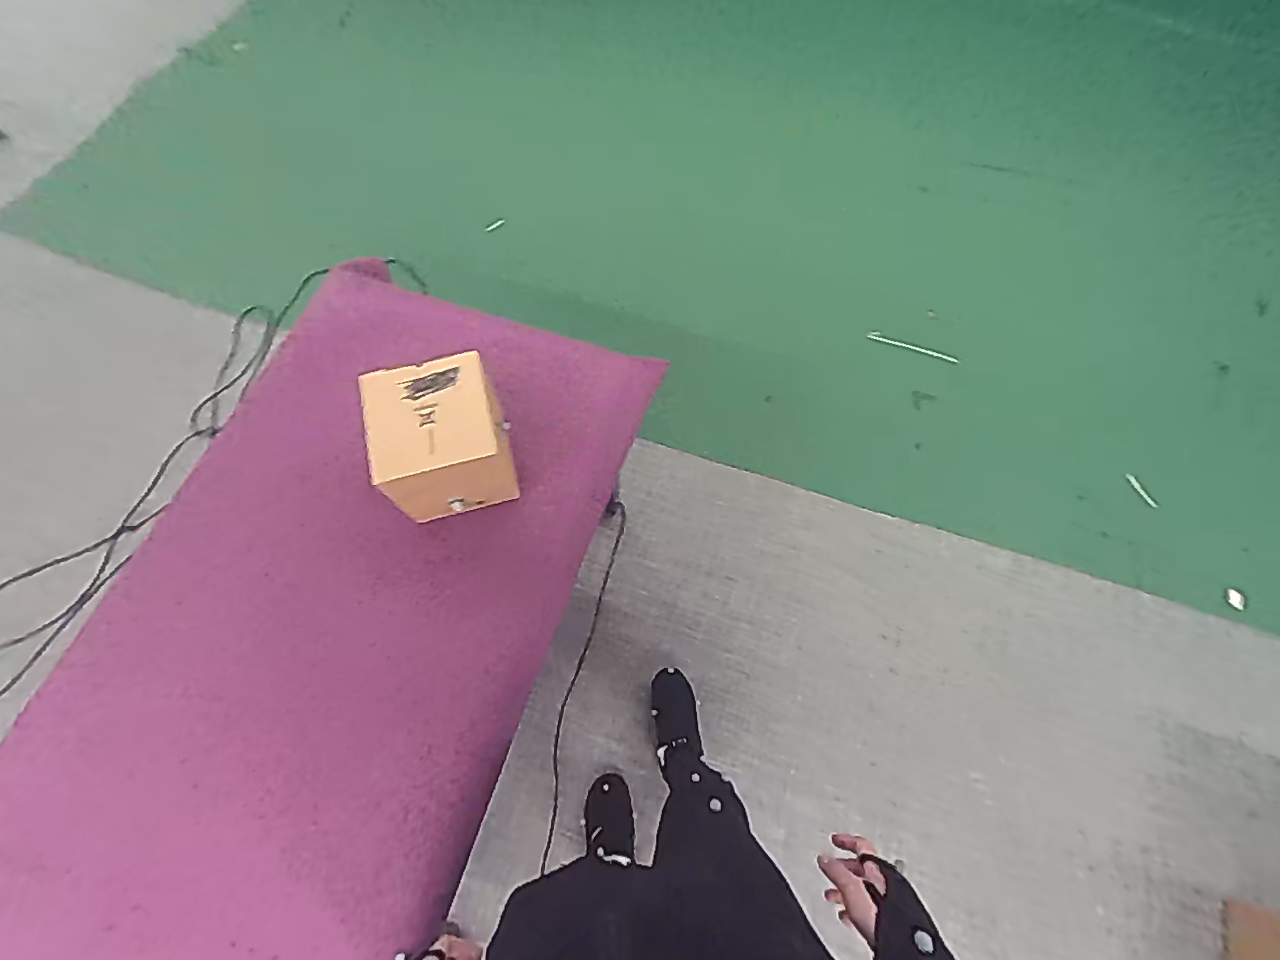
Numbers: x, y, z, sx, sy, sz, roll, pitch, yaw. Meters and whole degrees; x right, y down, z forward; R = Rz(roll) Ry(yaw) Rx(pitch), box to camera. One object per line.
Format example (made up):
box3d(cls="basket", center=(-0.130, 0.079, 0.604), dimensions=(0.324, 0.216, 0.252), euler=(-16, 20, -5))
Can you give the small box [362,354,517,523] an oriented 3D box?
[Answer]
box3d(cls="small box", center=(-0.291, -0.056, 0.807), dimensions=(0.168, 0.176, 0.179), euler=(-14, 69, -7))
